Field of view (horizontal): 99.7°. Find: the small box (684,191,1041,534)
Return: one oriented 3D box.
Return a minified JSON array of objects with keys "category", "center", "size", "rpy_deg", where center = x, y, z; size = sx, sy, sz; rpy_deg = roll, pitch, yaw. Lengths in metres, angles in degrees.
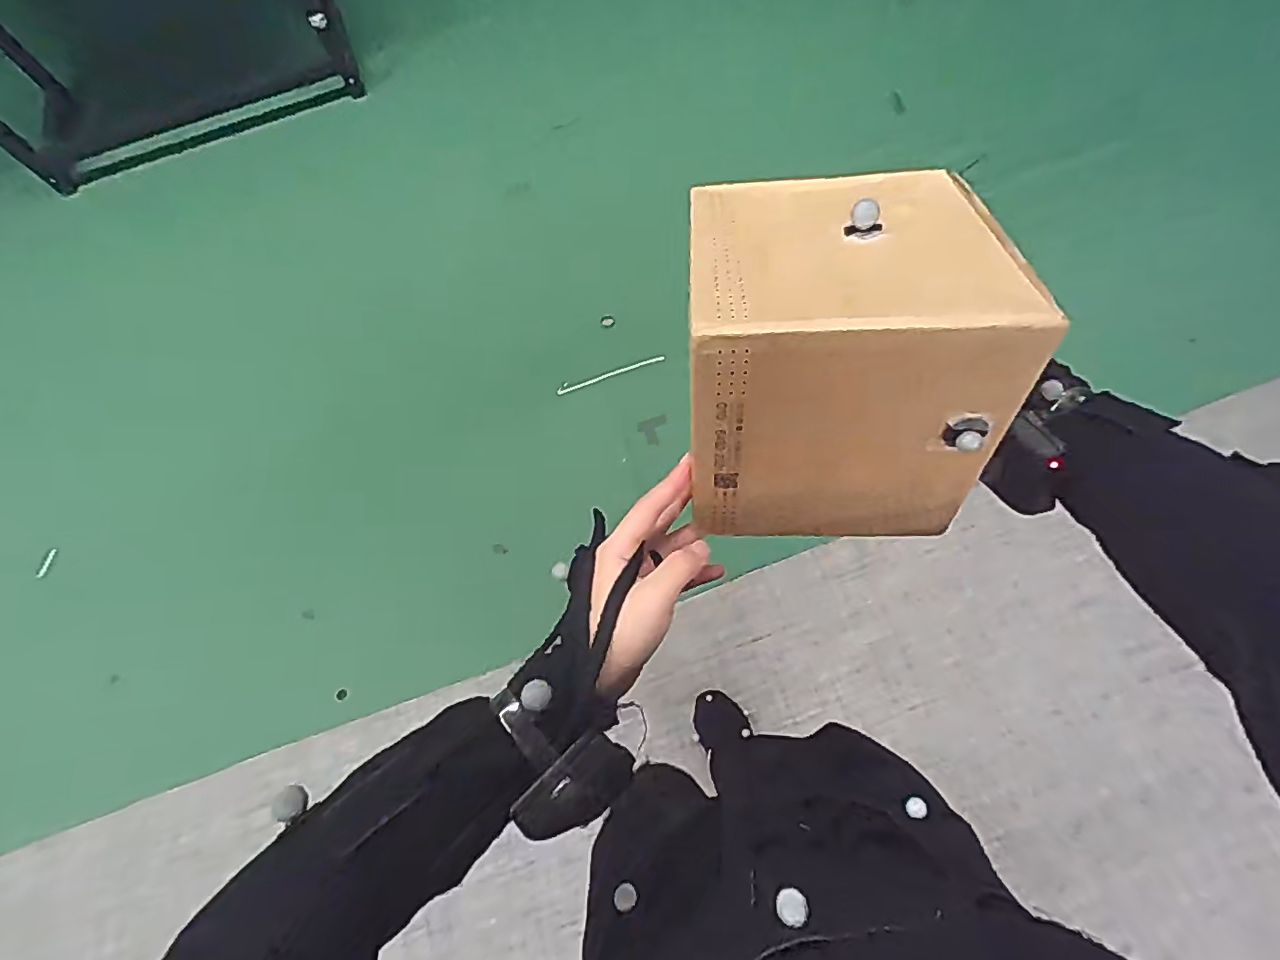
[{"category":"small box","center":[0.117,-0.079,0.374],"size":[0.176,0.168,0.179],"rpy_deg":[-1,49,6]}]
